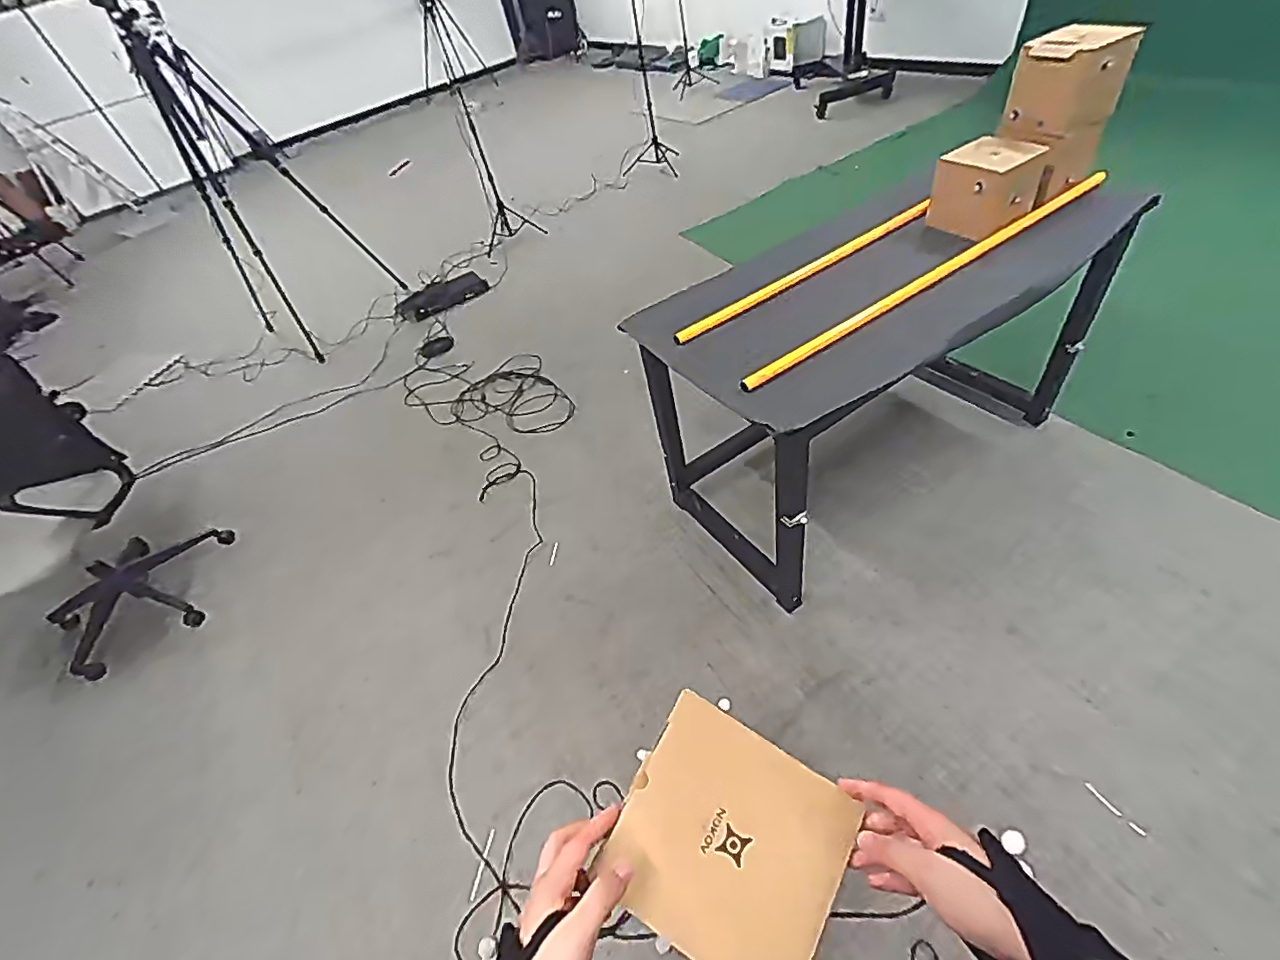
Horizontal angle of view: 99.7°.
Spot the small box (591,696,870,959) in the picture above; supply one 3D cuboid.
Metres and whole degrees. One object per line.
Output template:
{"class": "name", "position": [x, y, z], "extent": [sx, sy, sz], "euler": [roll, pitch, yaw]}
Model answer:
{"class": "small box", "position": [0.079, 0.329, 0.510], "extent": [0.179, 0.176, 0.168], "euler": [28, 68, 16]}

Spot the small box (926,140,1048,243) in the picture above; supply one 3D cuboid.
{"class": "small box", "position": [0.861, -0.721, 1.359], "extent": [0.168, 0.176, 0.179], "euler": [-29, 48, -13]}

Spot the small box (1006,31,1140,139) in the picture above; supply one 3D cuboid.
{"class": "small box", "position": [1.020, -0.945, 1.296], "extent": [0.179, 0.176, 0.168], "euler": [-28, 48, -11]}
